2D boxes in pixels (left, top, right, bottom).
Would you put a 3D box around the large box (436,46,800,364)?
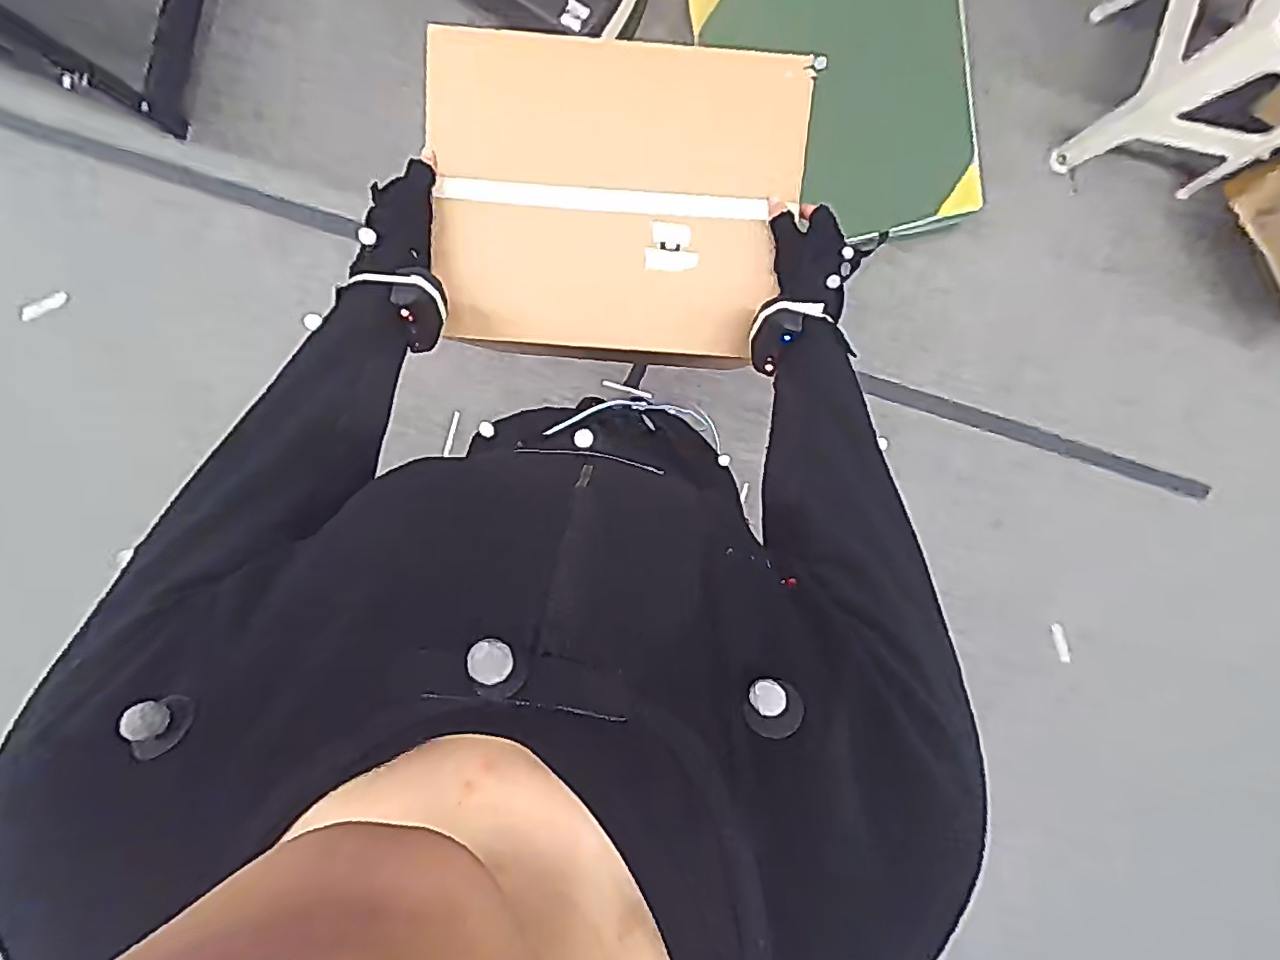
[{"bbox_3d":[-0.033,-0.333,0.757,0.408,0.320,0.320,3,100,-2],"label":"large box"}]
